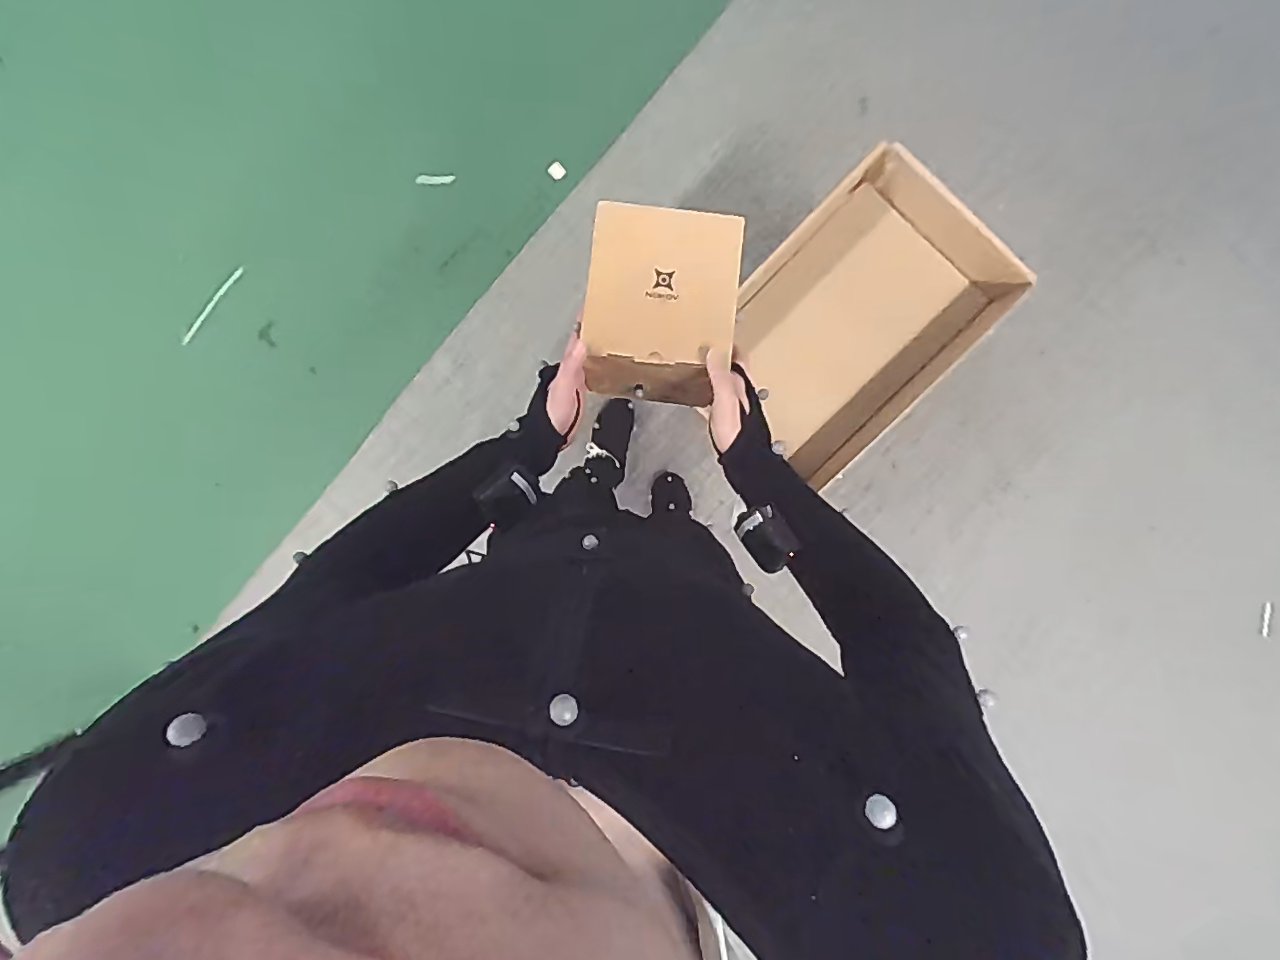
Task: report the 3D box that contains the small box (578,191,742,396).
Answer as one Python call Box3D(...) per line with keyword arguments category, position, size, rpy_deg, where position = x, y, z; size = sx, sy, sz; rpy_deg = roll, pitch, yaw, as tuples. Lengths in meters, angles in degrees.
Box3D(category="small box", position=(0.020, -0.213, 0.660), size=(0.168, 0.176, 0.179), rpy_deg=(6, 86, -1))
